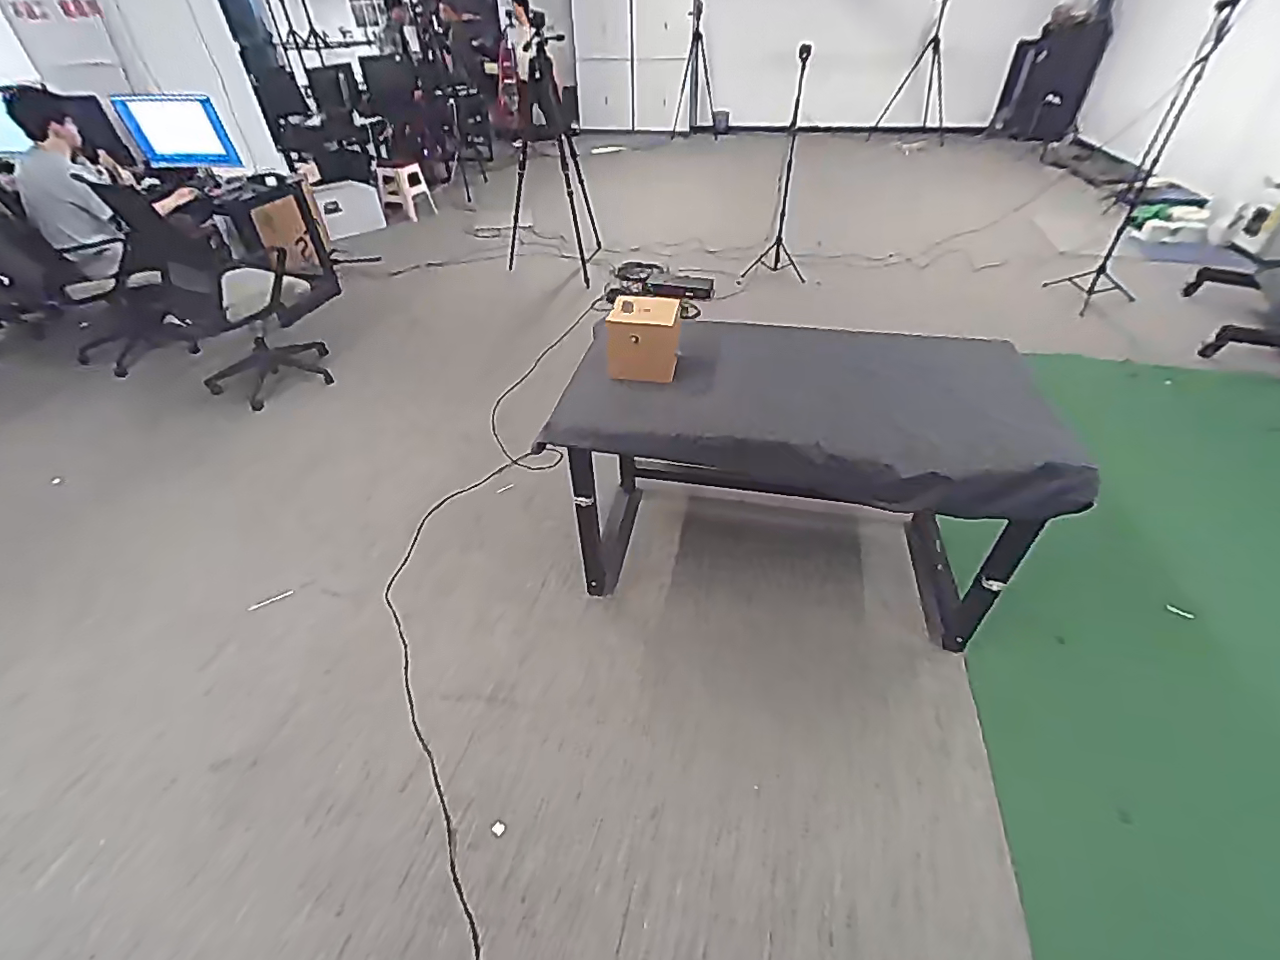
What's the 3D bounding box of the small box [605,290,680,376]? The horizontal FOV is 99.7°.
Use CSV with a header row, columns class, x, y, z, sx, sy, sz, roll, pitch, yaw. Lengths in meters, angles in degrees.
class,x,y,z,sx,sy,sz,roll,pitch,yaw
small box,0.010,-0.397,1.464,0.179,0.176,0.168,7,42,7
